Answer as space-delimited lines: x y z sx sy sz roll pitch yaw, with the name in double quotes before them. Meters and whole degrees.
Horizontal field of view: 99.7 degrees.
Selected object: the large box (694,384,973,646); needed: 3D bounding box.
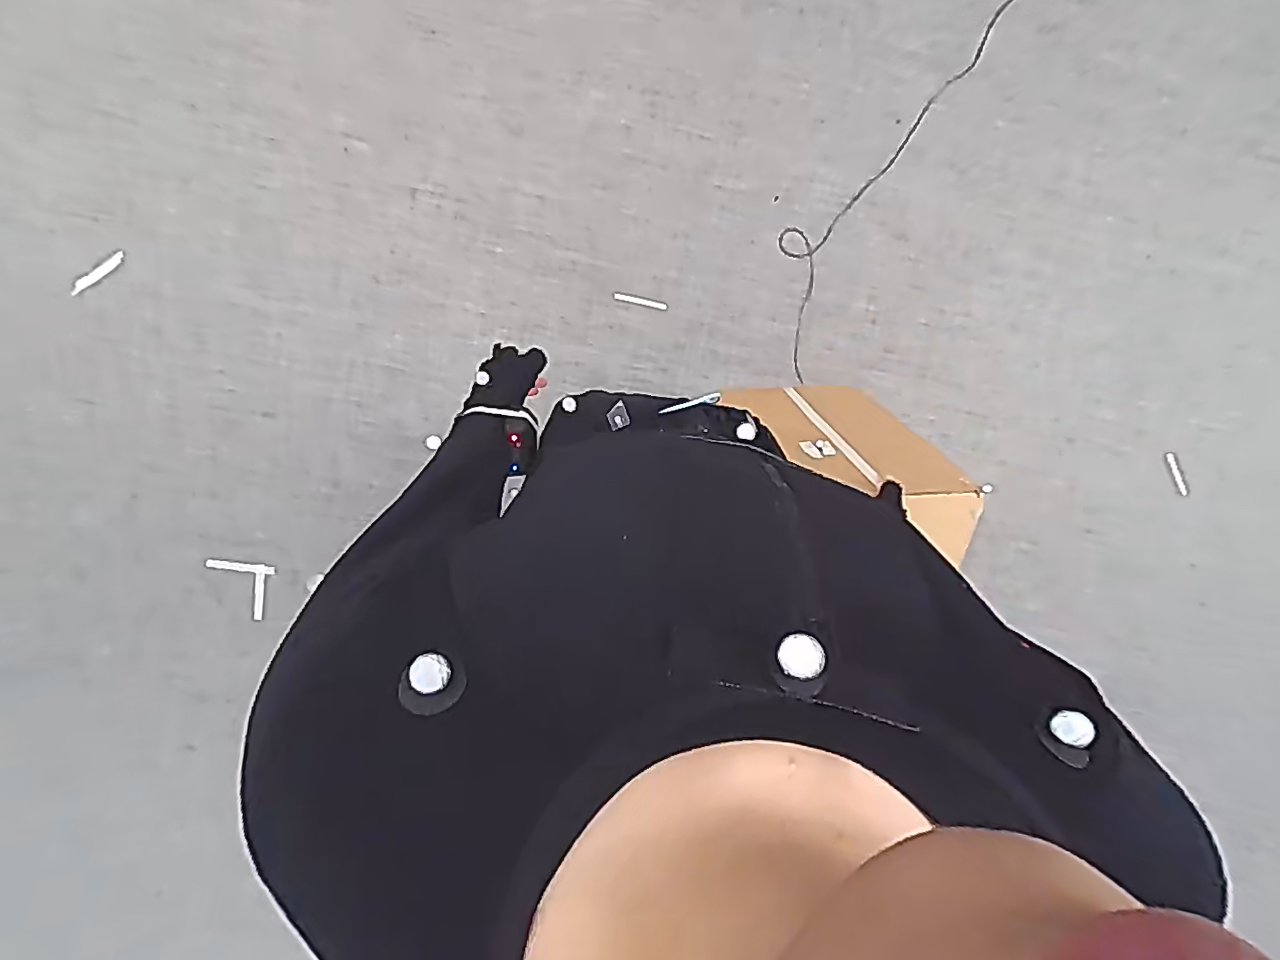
"large box" 0.304 0.043 1.011 0.320 0.408 0.320 -3 123 -7
